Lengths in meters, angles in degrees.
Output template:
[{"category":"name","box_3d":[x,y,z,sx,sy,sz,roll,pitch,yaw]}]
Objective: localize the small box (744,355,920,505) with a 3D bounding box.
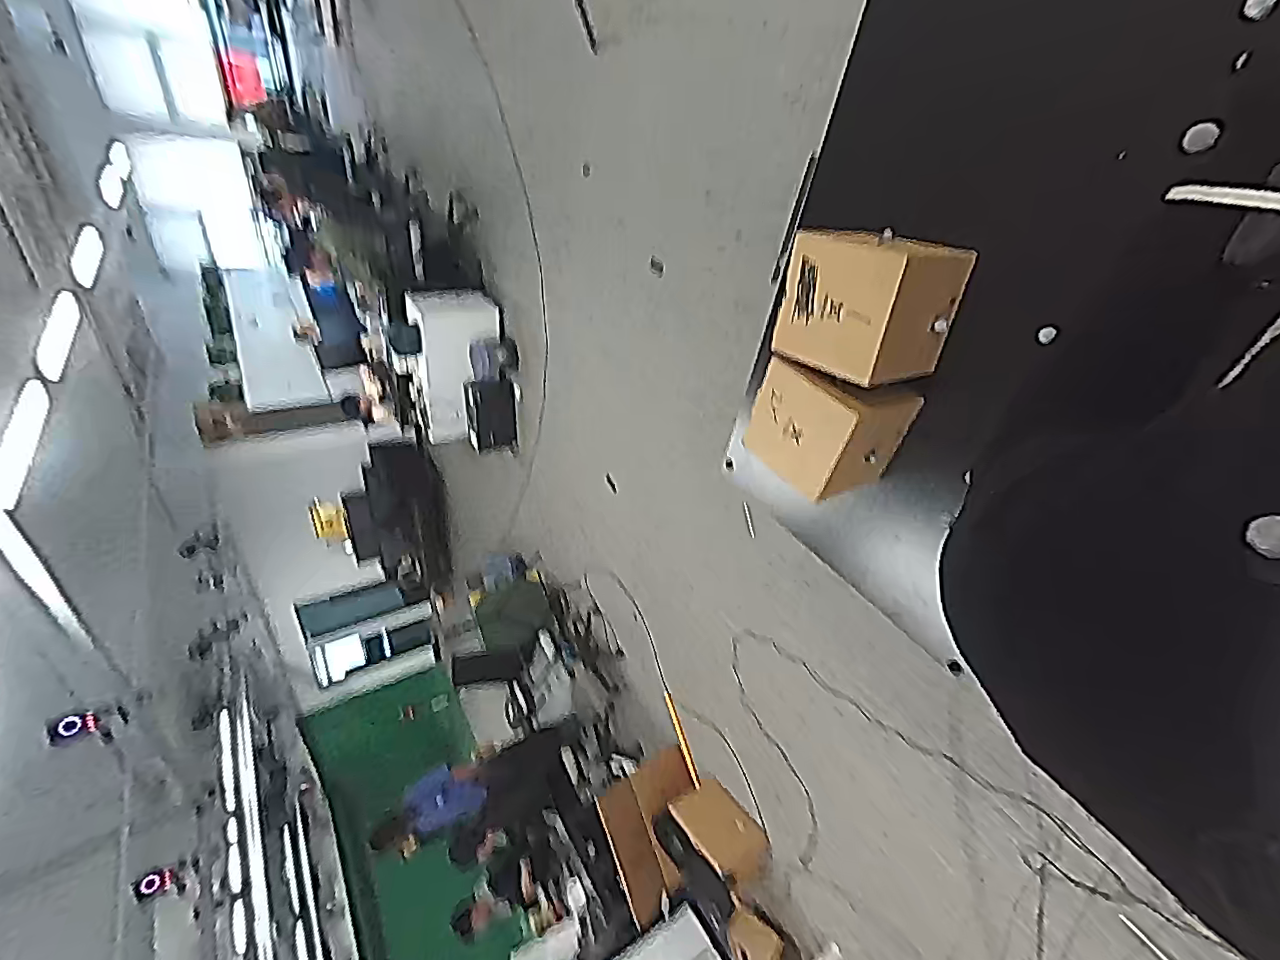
[{"category":"small box","box_3d":[0.305,-0.090,0.870,0.179,0.176,0.168,49,139,37]}]
